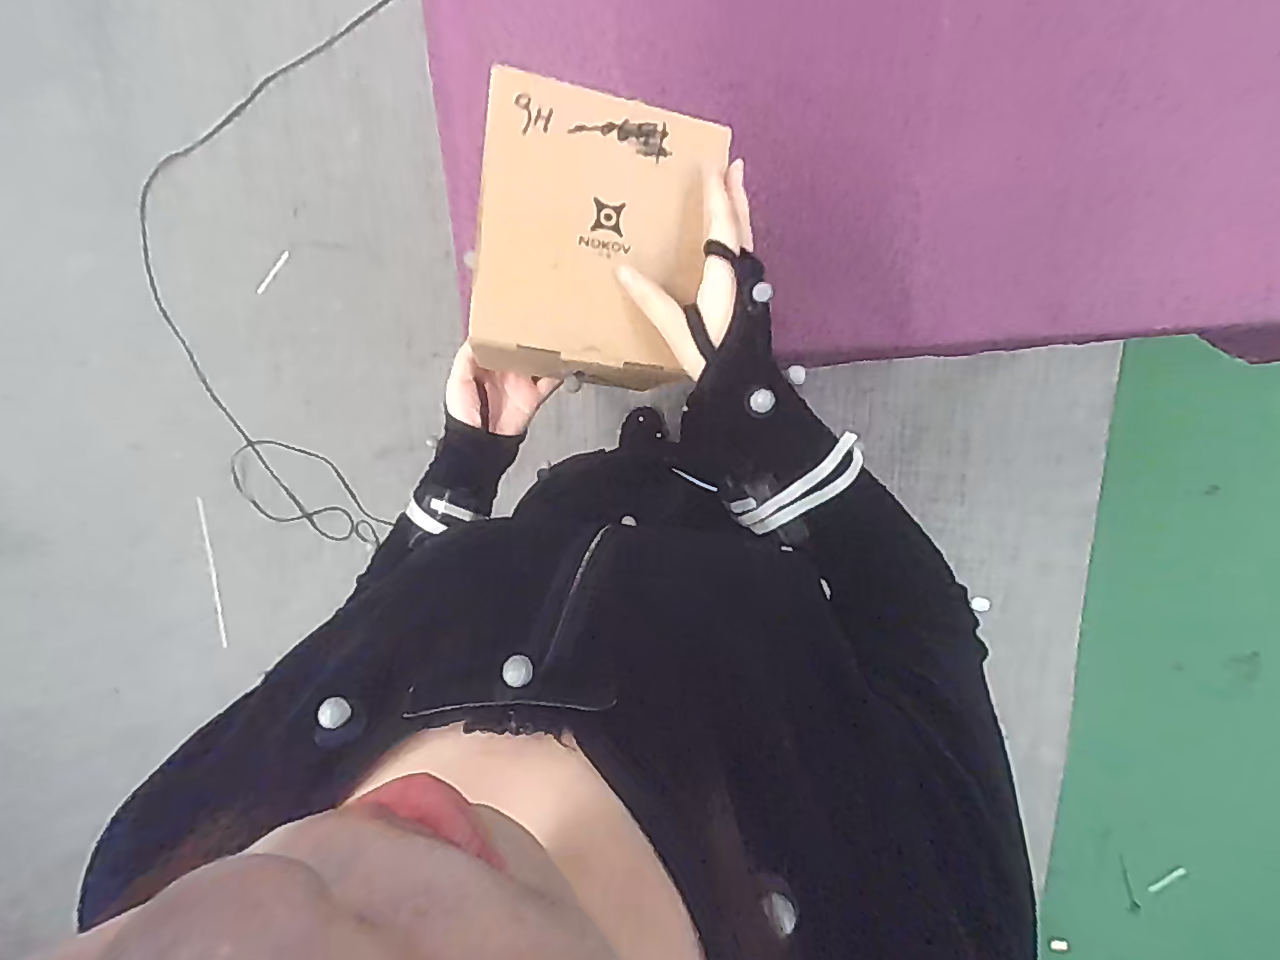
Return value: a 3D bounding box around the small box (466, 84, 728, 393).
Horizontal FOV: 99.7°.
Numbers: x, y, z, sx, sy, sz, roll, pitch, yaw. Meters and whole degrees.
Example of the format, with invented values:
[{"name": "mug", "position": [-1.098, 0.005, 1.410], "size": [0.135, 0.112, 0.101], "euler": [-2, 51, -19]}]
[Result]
[{"name": "small box", "position": [-0.046, -0.170, 0.450], "size": [0.168, 0.176, 0.179], "euler": [6, 95, -15]}]
